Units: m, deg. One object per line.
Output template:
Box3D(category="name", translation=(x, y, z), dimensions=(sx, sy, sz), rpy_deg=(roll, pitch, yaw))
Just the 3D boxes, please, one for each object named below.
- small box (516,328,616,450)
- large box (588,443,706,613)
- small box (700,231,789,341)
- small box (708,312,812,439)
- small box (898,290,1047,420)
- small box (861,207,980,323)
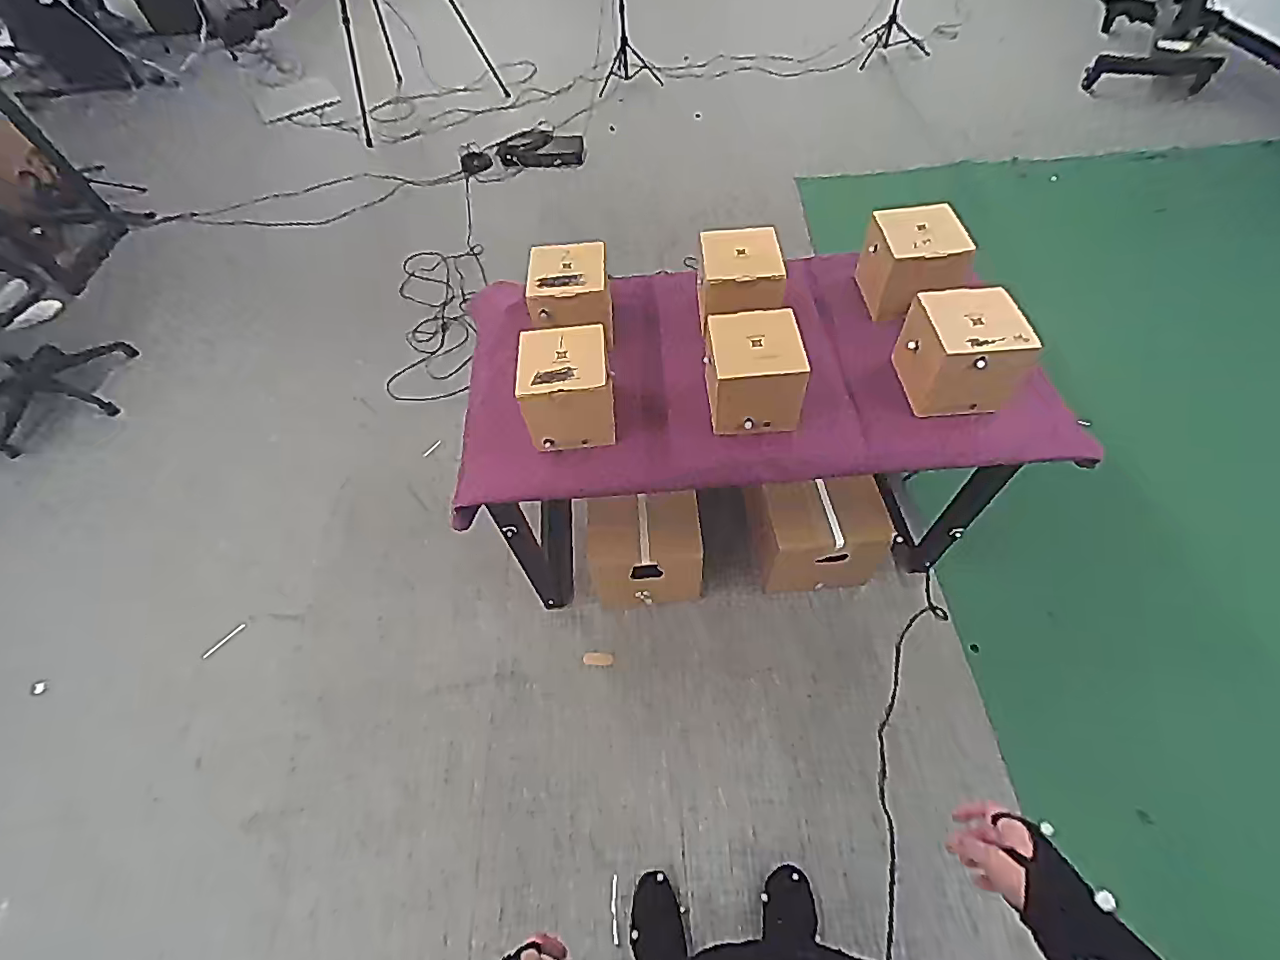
Box3D(category="small box", translation=(-0.138, -0.172, 1.067), dimensions=(0.168, 0.176, 0.179), rpy_deg=(-5, 54, 1))
Box3D(category="large box", translation=(0.020, 0.148, 1.640), dimensions=(0.320, 0.320, 0.408), rpy_deg=(-4, 55, 1))
Box3D(category="small box", translation=(0.225, -0.428, 1.211), dimensions=(0.168, 0.176, 0.179), rpy_deg=(-3, 57, 3))
Box3D(category="small box", translation=(0.223, -0.201, 1.056), dimensions=(0.168, 0.176, 0.179), rpy_deg=(-4, 55, 4))
Box3D(category="small box", translation=(0.622, -0.238, 1.042), dimensions=(0.168, 0.176, 0.179), rpy_deg=(-4, 53, 4))
Box3D(category="small box", translation=(0.608, -0.475, 1.203), dimensions=(0.168, 0.176, 0.179), rpy_deg=(-5, 57, 4))
